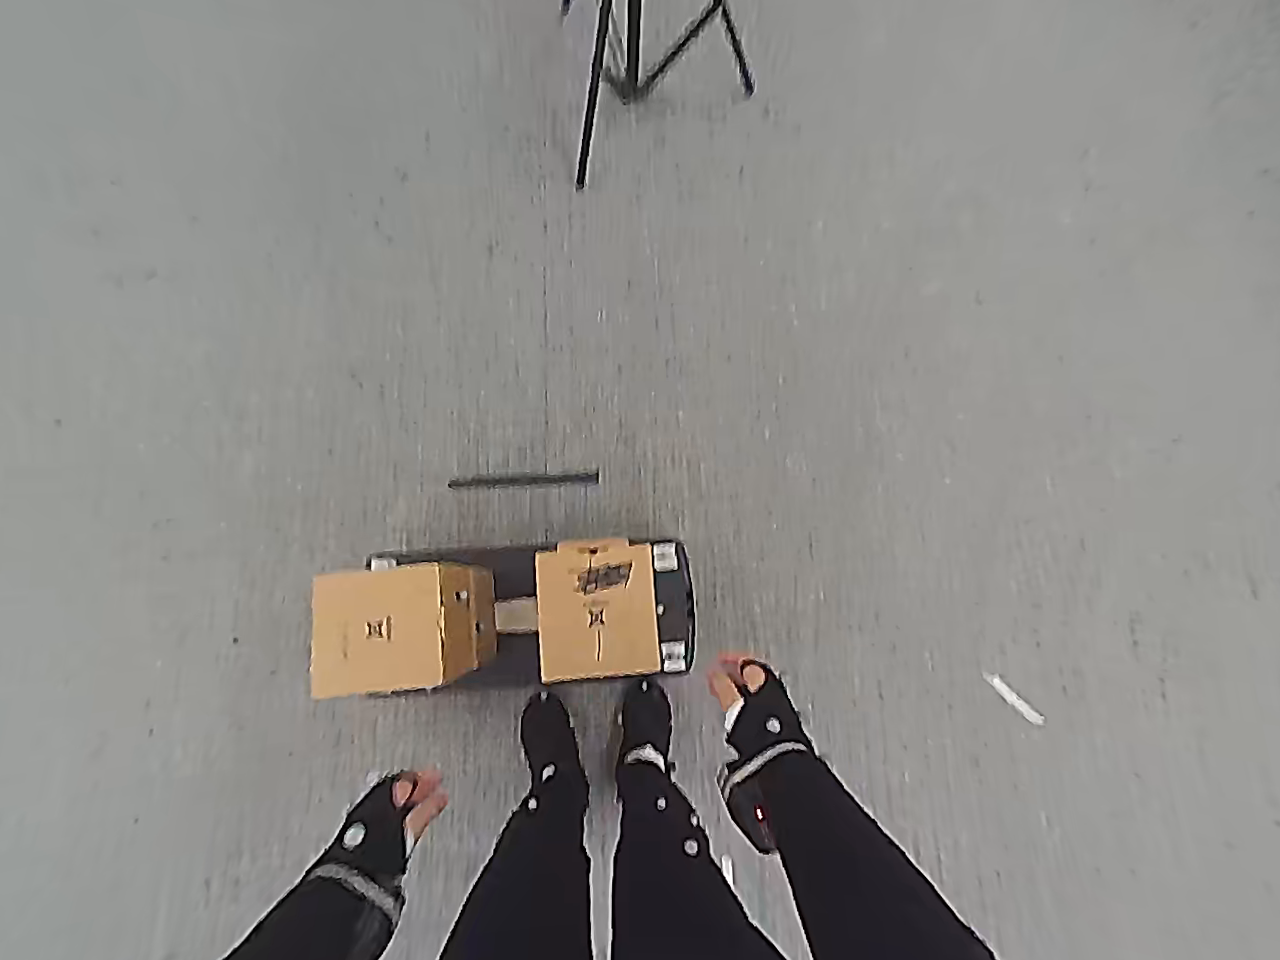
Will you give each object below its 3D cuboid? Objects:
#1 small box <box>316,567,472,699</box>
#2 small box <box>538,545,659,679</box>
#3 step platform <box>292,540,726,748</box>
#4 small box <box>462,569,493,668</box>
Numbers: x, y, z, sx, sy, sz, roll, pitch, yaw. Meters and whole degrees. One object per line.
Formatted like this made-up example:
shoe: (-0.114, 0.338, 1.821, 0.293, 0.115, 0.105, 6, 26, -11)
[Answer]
small box: (-0.362, 0.224, 0.827, 0.179, 0.176, 0.168, -6, 78, -4)
small box: (-0.064, 0.201, 0.843, 0.168, 0.176, 0.179, -5, 79, -2)
step platform: (-0.206, 0.274, 0.954, 0.684, 0.204, 0.286, -3, 78, -4)
small box: (-0.369, 0.256, 0.989, 0.179, 0.176, 0.168, -5, 79, -5)
